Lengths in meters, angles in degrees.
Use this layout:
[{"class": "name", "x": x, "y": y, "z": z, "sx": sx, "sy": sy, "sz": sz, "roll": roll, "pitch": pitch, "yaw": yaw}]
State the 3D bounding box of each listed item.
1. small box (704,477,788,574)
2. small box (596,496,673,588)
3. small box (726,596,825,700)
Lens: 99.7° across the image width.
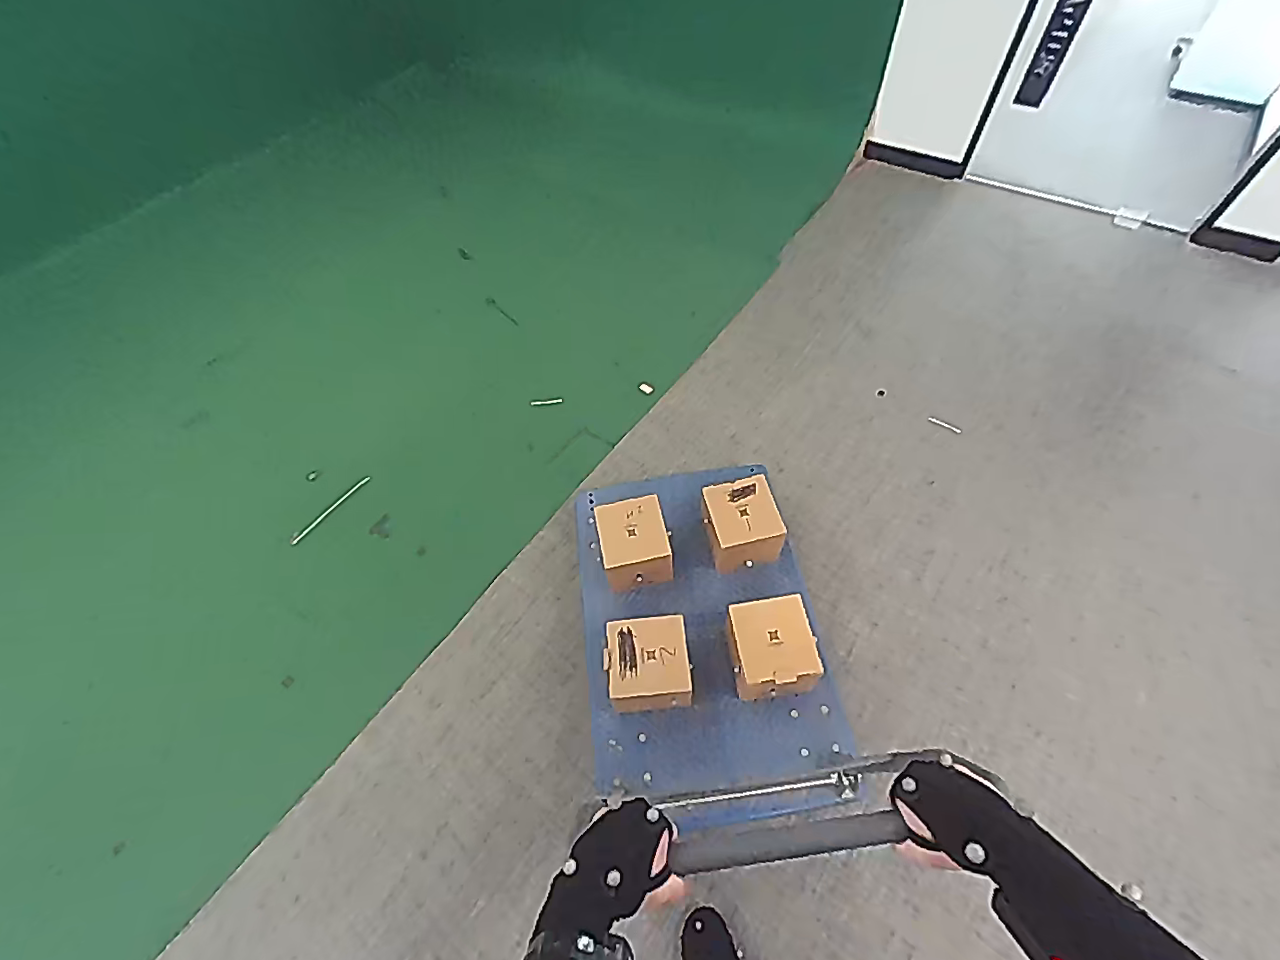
[{"class": "small box", "x": 0.264, "y": 0.120, "z": 1.399, "sx": 0.168, "sy": 0.176, "sz": 0.179, "roll": -13, "pitch": 59, "yaw": -3}, {"class": "small box", "x": -0.011, "y": 0.167, "z": 1.391, "sx": 0.168, "sy": 0.176, "sz": 0.179, "roll": -11, "pitch": 58, "yaw": -3}, {"class": "small box", "x": 0.297, "y": 0.386, "z": 1.231, "sx": 0.168, "sy": 0.176, "sz": 0.179, "roll": -9, "pitch": 58, "yaw": -1}]
